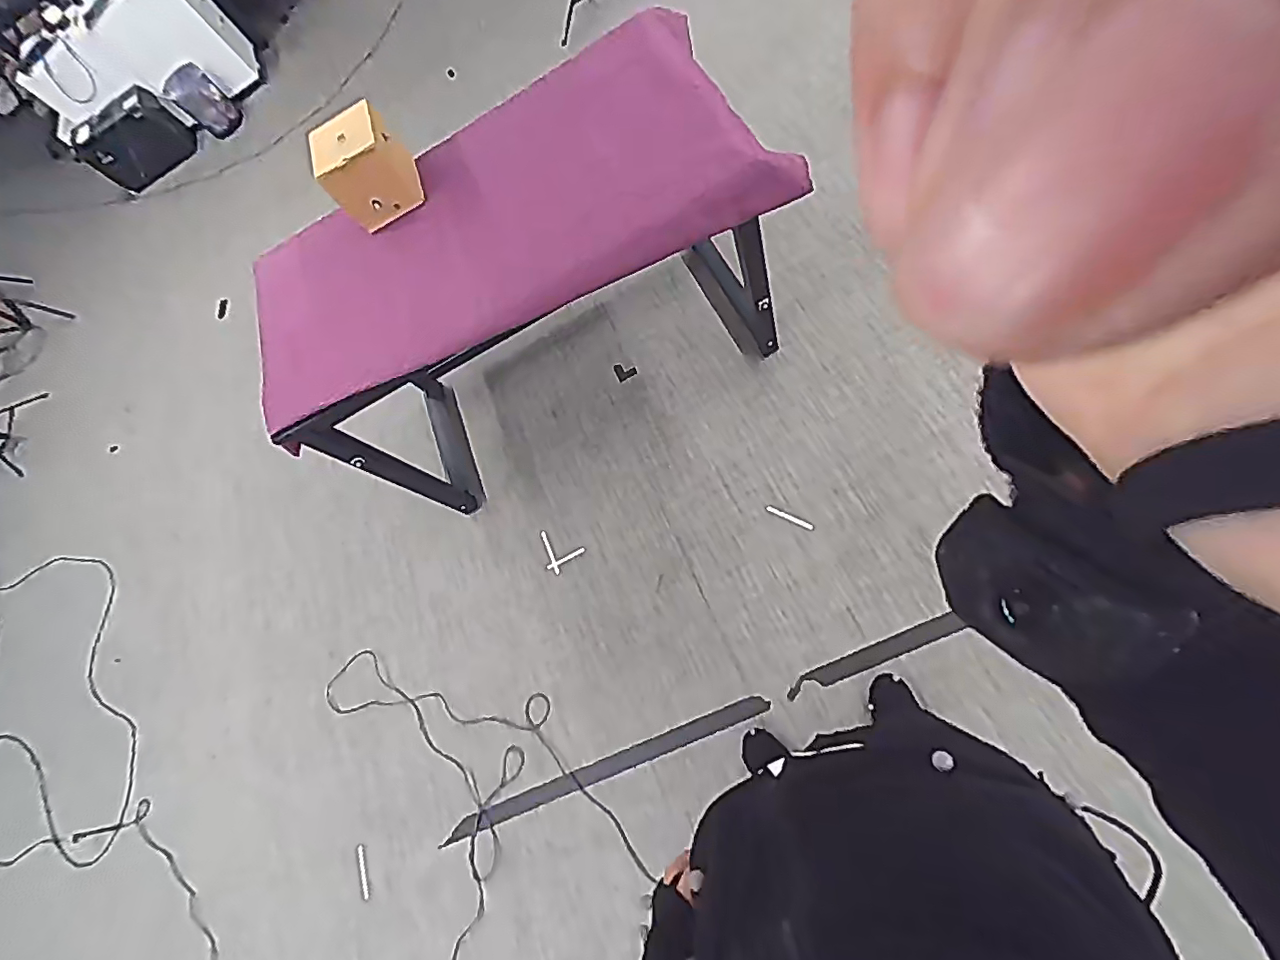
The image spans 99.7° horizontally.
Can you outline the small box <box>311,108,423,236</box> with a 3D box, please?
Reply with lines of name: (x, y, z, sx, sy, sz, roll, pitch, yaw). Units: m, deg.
small box: (-0.653, -0.734, 1.301, 0.168, 0.176, 0.179, -25, 66, 8)
